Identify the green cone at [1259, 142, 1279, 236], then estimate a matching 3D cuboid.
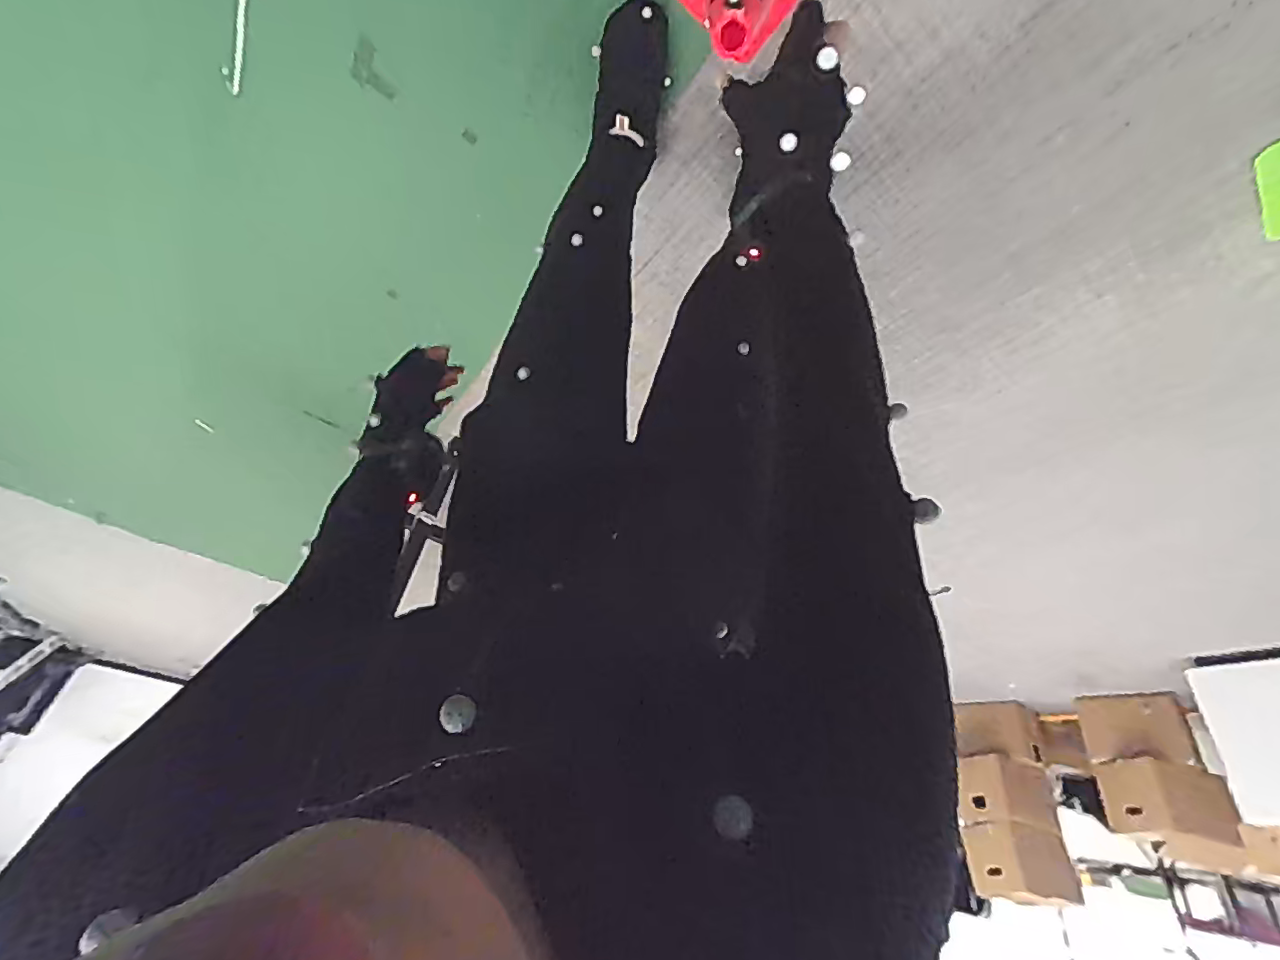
[{"bbox_3d":[1.079,-0.361,0.735,0.202,0.368,0.200,33,140,-29],"label":"green cone"}]
